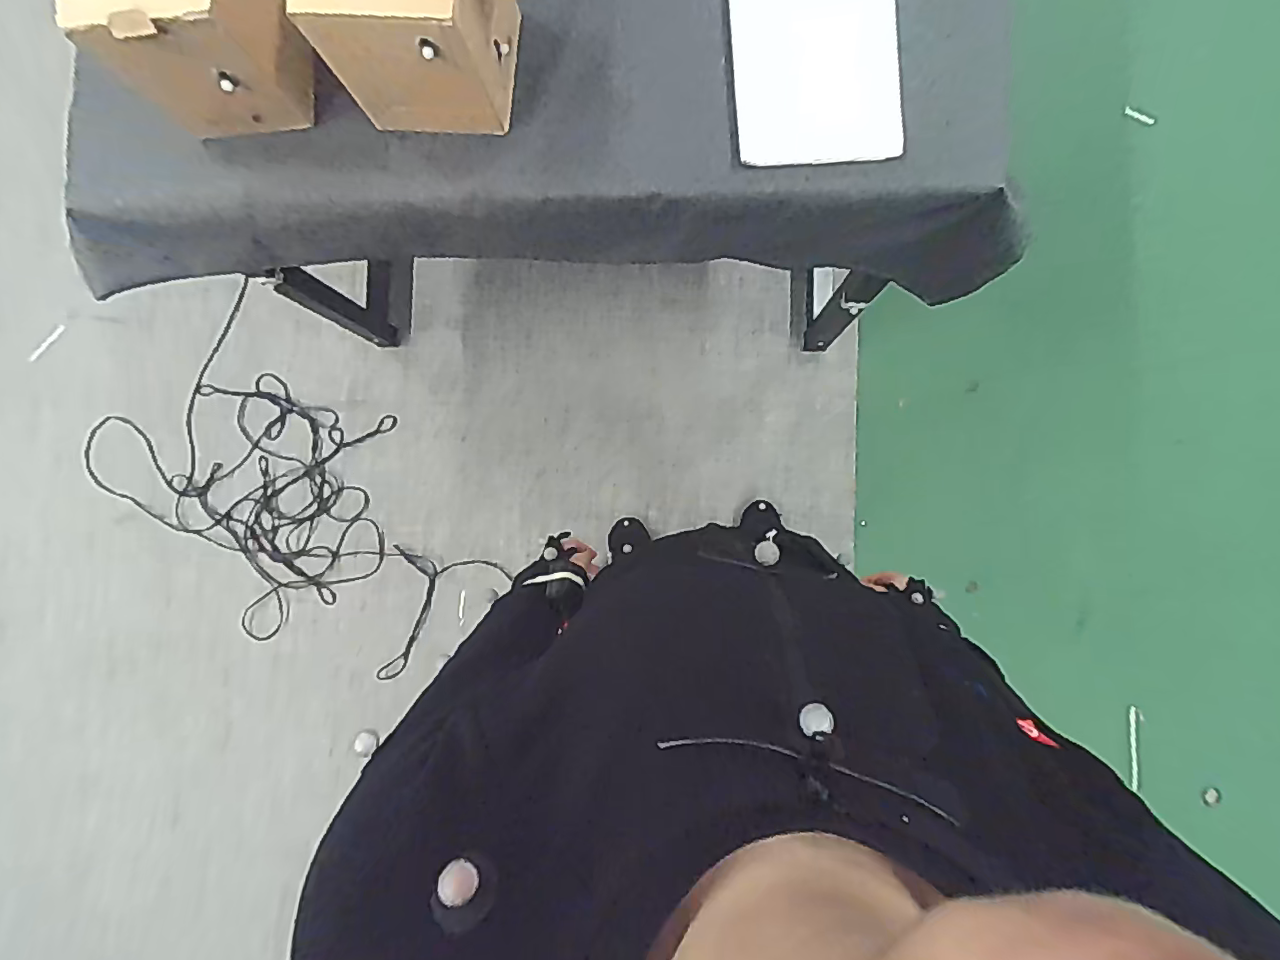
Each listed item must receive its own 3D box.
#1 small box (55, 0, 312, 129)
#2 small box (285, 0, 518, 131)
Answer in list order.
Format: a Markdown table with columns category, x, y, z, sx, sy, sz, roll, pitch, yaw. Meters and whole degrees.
| category | x | y | z | sx | sy | sz | roll | pitch | yaw |
| --- | --- | --- | --- | --- | --- | --- | --- | --- | --- |
| small box | -0.513 | -0.543 | 0.631 | 0.168 | 0.176 | 0.179 | -4 | 86 | 2 |
| small box | -0.254 | -0.532 | 0.614 | 0.179 | 0.176 | 0.168 | 5 | 87 | 3 |
